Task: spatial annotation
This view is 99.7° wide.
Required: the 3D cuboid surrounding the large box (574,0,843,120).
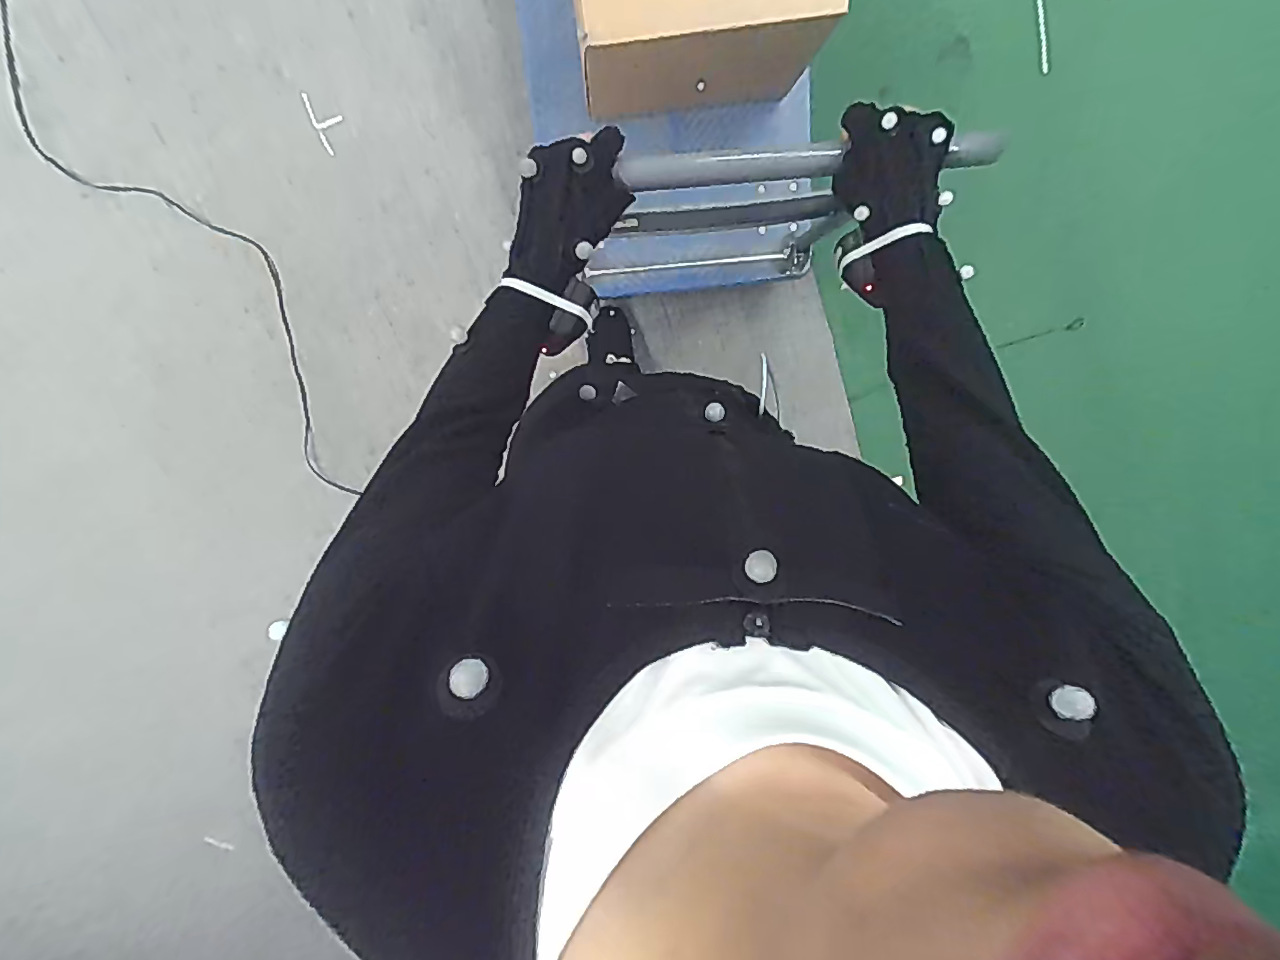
[{"bbox_3d":[0.085,-0.865,0.922,0.408,0.320,0.320,-9,105,-1],"label":"large box"}]
